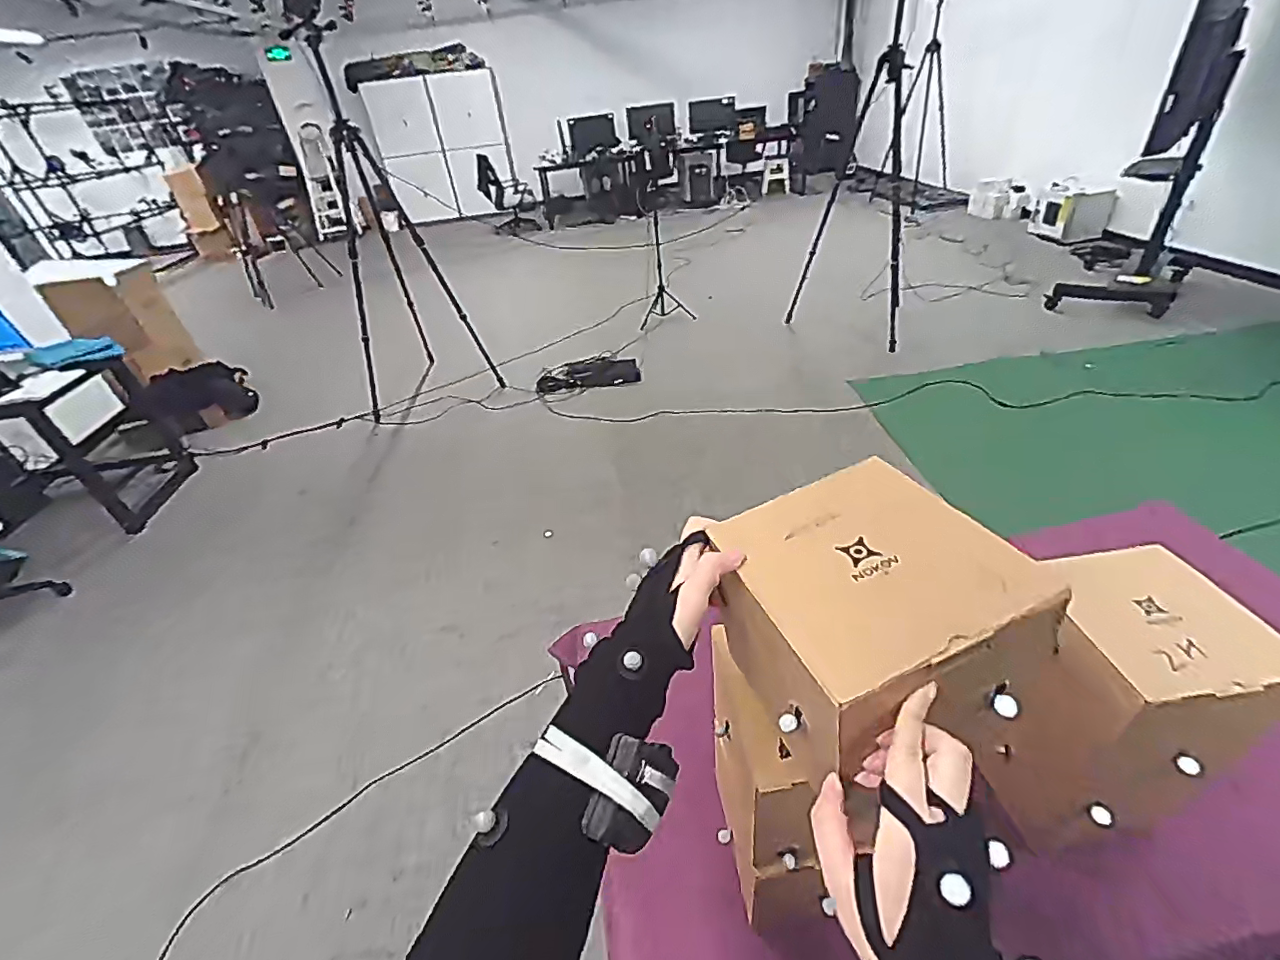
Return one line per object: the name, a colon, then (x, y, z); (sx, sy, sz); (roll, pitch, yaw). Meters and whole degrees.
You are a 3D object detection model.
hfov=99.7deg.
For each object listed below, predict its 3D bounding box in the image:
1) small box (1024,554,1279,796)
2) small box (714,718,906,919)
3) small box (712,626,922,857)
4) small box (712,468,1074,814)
small box: (0.519, 0.207, 0.585); (0.168, 0.176, 0.179); (-7, 37, 0)
small box: (0.189, 0.401, 0.656); (0.168, 0.176, 0.179); (-8, 37, -2)
small box: (0.175, 0.264, 0.564); (0.168, 0.176, 0.179); (-8, 36, -1)
small box: (0.173, 0.123, 0.421); (0.168, 0.176, 0.179); (-19, 35, -9)
